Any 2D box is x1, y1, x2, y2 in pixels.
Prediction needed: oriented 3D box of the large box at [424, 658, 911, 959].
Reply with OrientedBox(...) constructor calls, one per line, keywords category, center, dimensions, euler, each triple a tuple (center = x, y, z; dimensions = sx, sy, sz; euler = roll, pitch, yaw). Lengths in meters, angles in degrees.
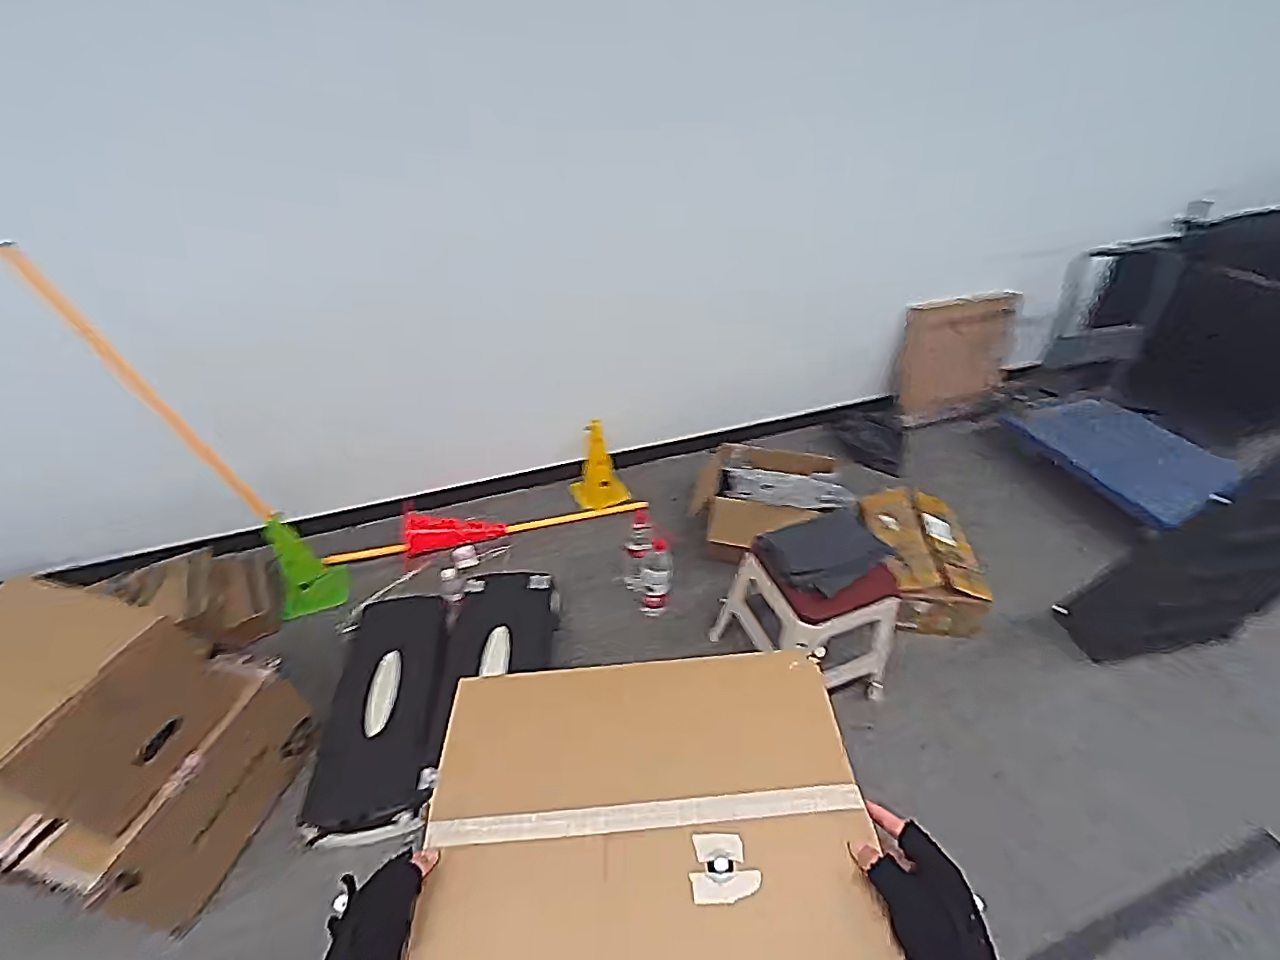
OrientedBox(category="large box", center=(0.022, 0.436, 0.615), dimensions=(0.408, 0.320, 0.320), euler=(-4, 41, 1))
